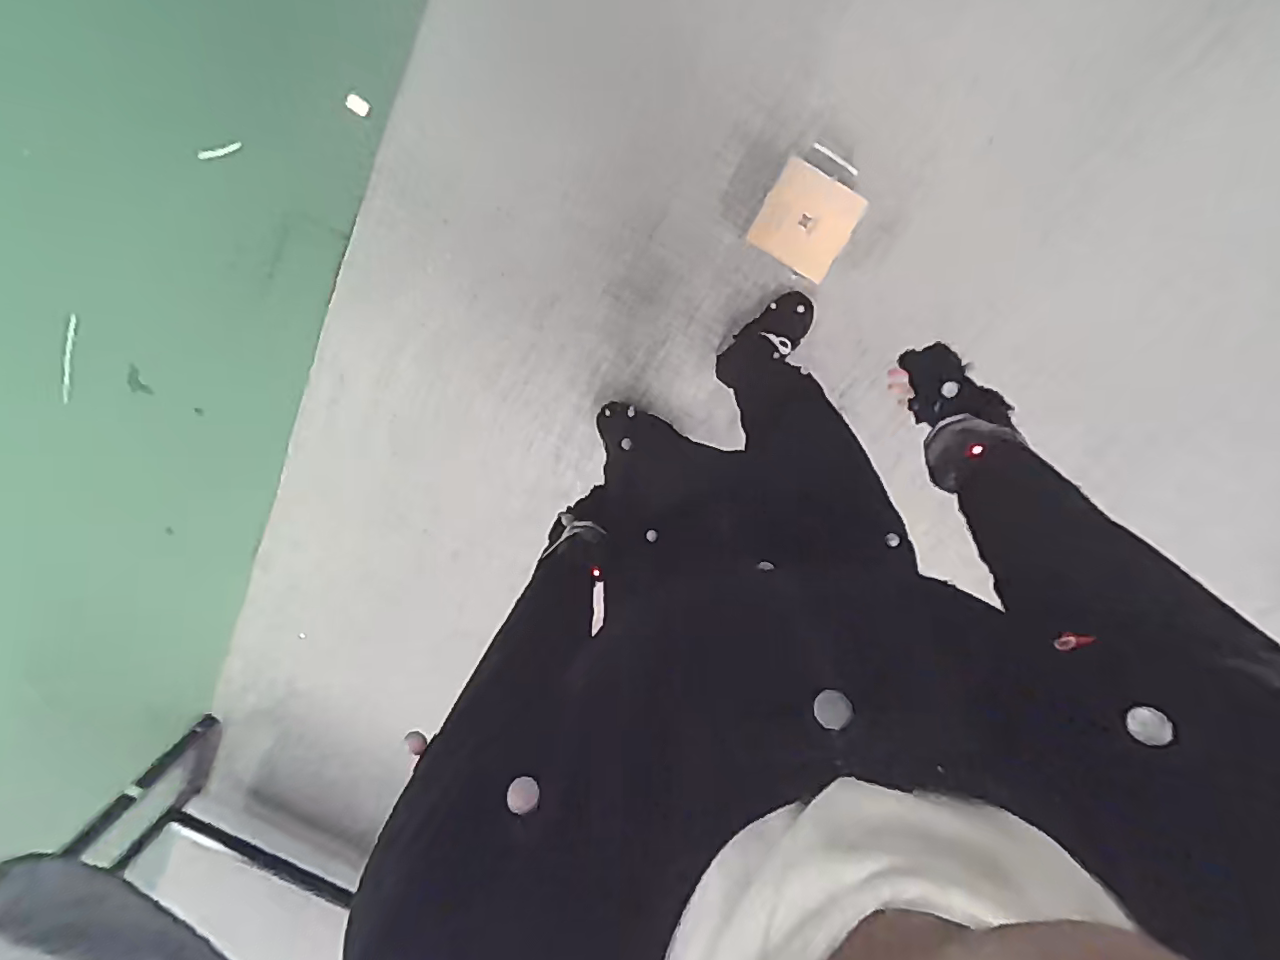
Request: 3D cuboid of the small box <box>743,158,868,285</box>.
[{"bbox_3d":[0.327,-0.522,1.104,0.179,0.176,0.168,29,114,-3],"label":"small box"}]
